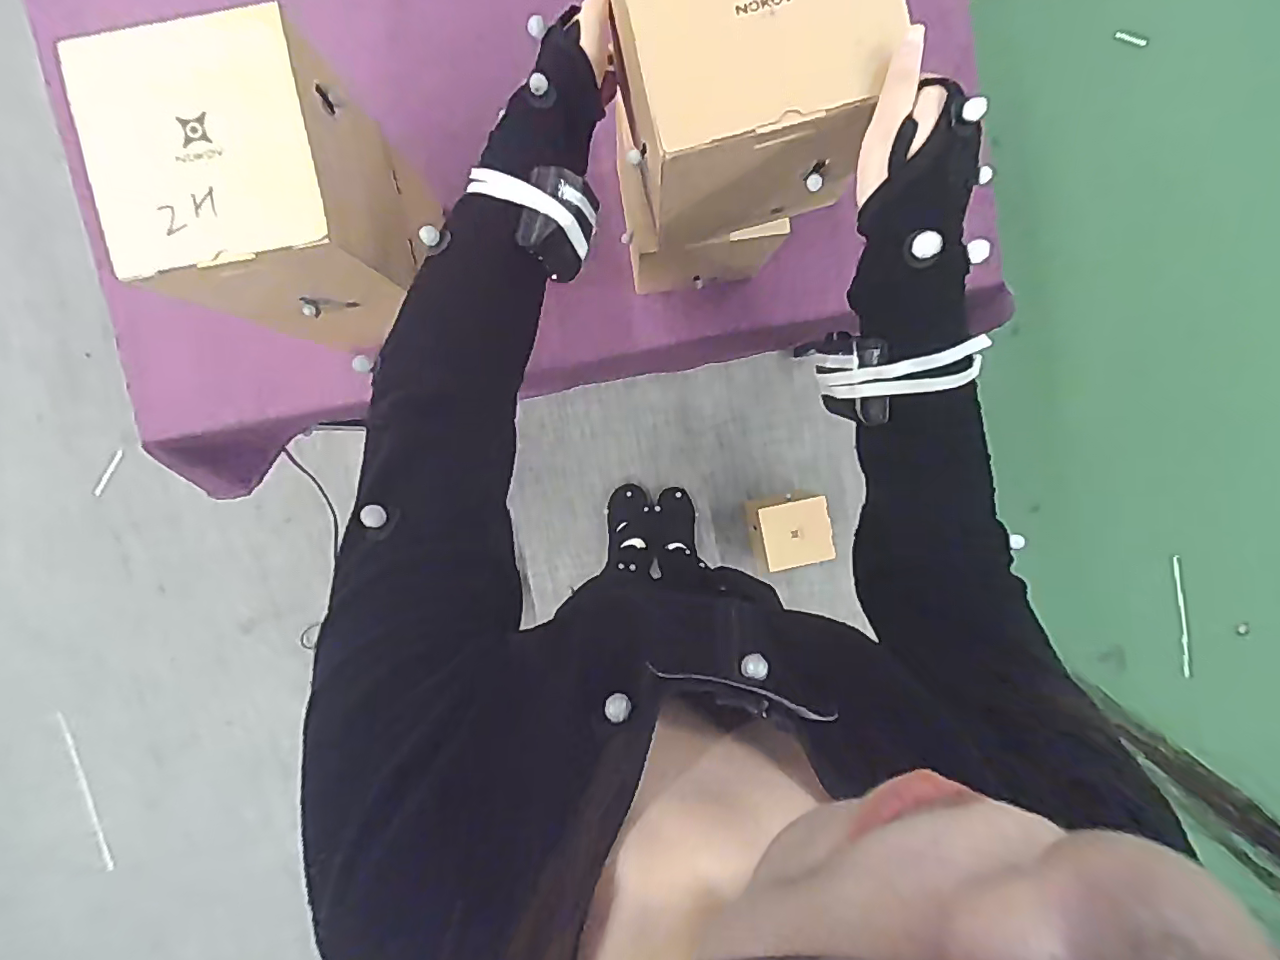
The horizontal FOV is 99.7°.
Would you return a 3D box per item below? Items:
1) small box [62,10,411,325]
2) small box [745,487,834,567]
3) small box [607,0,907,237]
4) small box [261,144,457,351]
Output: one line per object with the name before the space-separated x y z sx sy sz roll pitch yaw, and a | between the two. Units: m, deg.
small box | -0.330 -0.254 0.482 0.168 0.176 0.179 -11 95 0
small box | 0.386 0.119 1.434 0.179 0.176 0.168 -13 95 -1
small box | 0.073 -0.310 0.416 0.168 0.176 0.179 -14 93 2
small box | -0.334 -0.262 0.648 0.179 0.176 0.168 -12 94 -1
